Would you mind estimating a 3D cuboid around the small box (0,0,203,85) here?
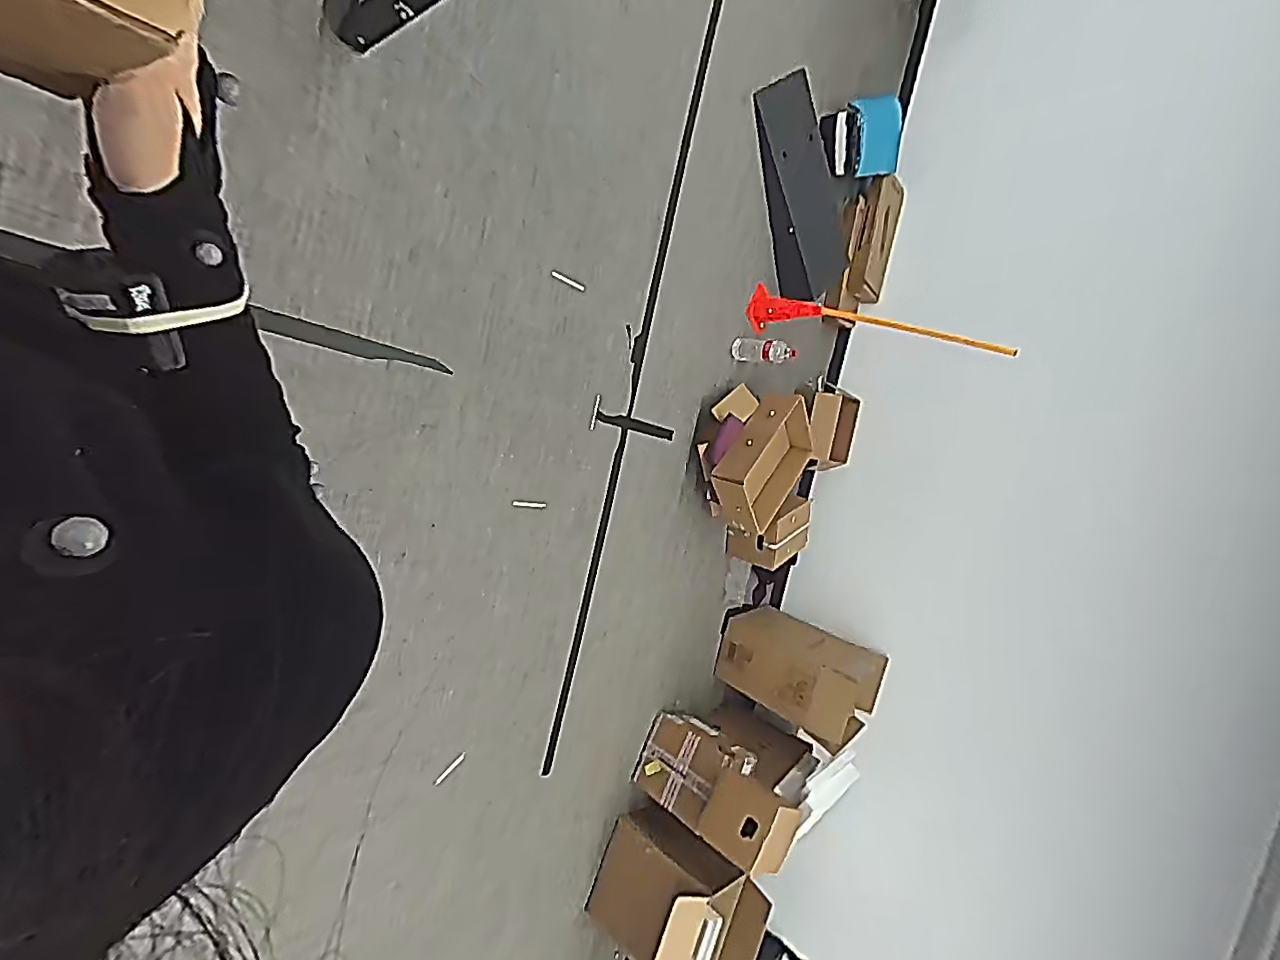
[{"bbox_3d":[-0.253,-0.256,0.161,0.168,0.176,0.179,-4,110,-56],"label":"small box"}]
